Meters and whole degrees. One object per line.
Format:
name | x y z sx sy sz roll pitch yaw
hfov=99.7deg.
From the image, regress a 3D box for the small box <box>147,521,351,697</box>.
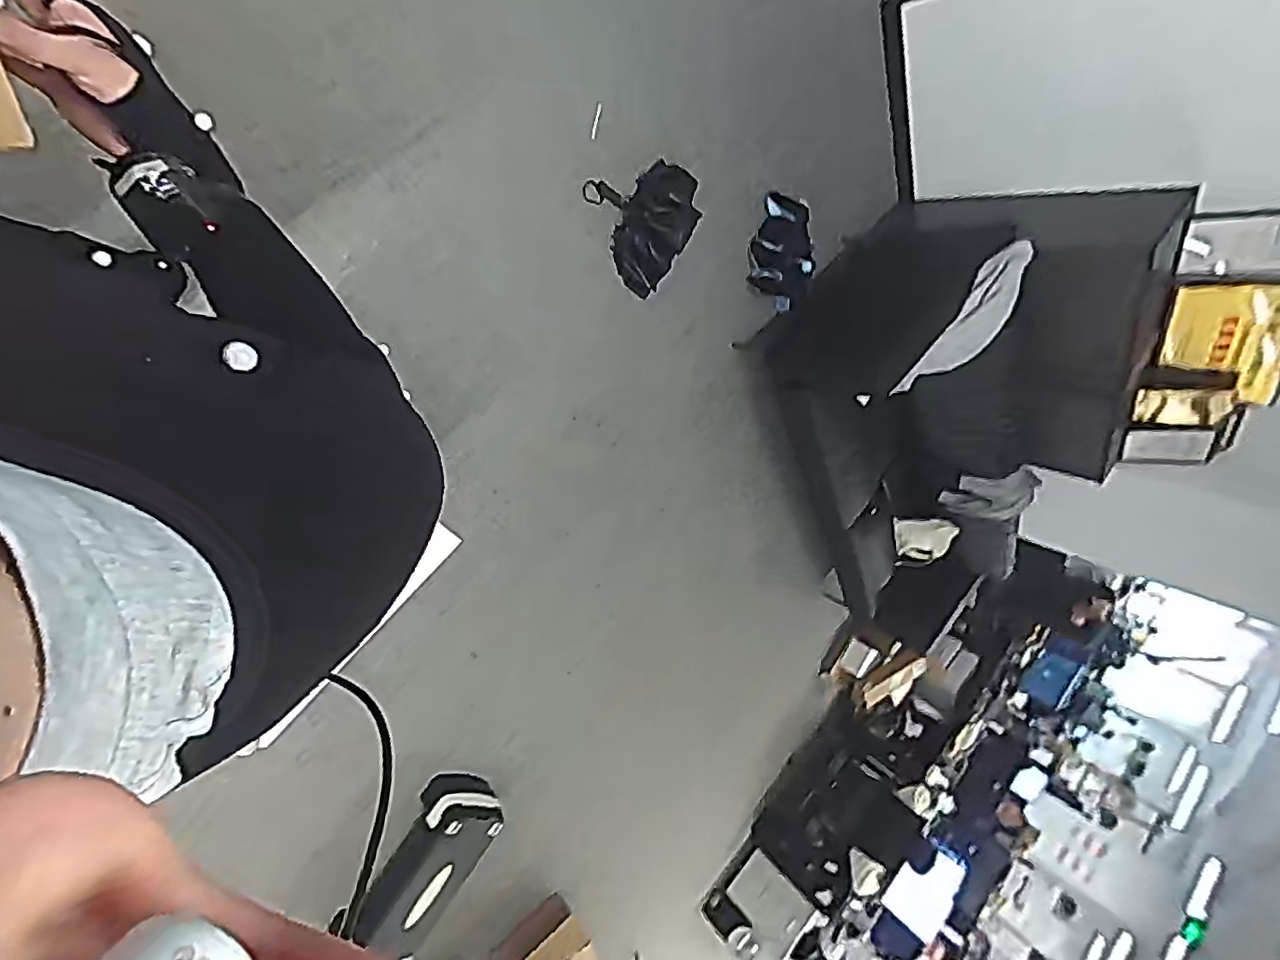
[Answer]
small box | -0.582 0.187 0.810 0.168 0.176 0.179 -52 135 -12
